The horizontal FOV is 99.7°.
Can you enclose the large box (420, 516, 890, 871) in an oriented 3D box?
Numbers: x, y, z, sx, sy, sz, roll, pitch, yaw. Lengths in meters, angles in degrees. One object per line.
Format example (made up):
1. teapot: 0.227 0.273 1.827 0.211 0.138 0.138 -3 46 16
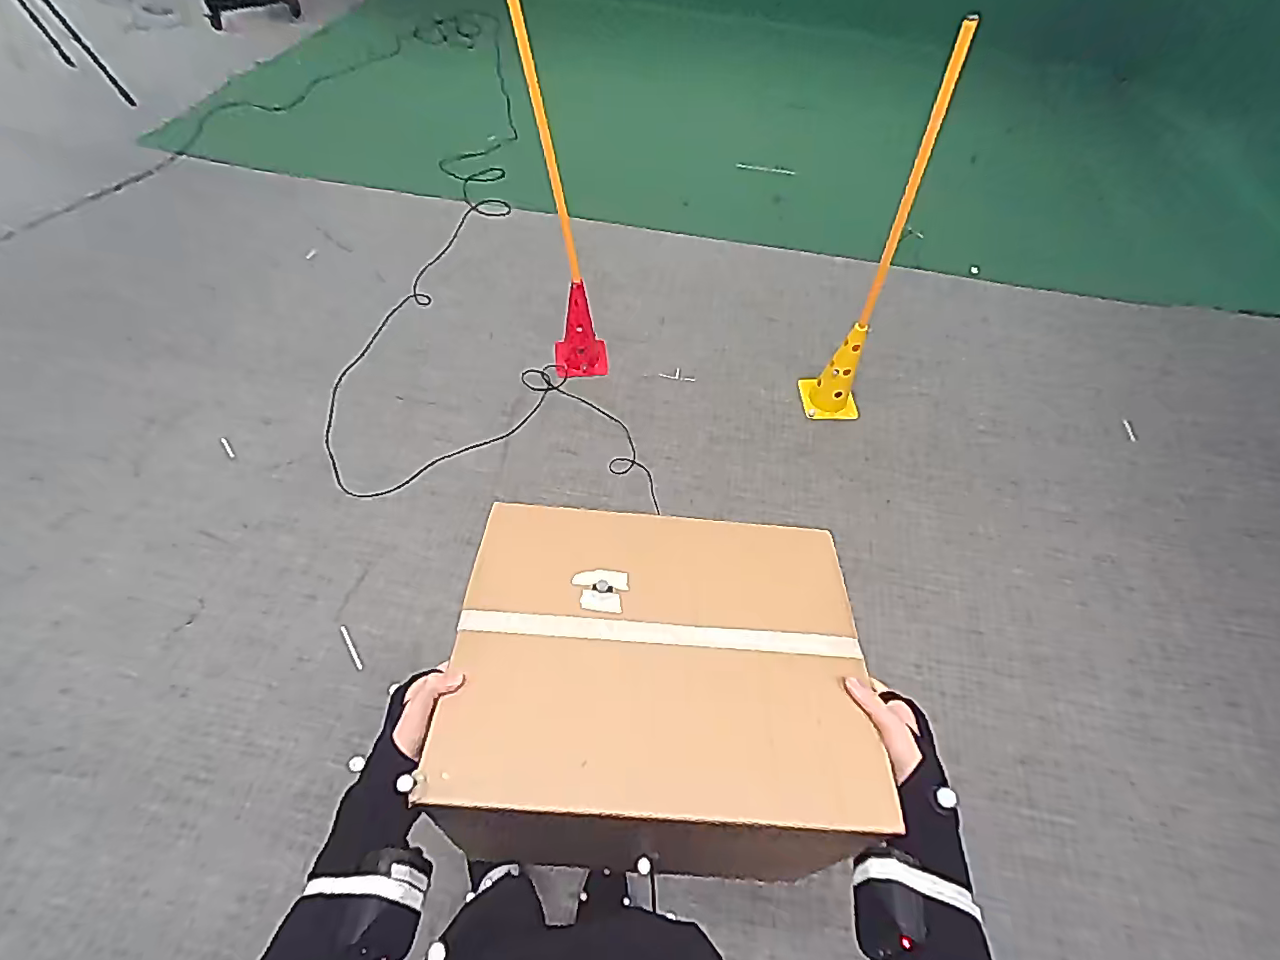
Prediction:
1. large box: 0.012 0.268 0.659 0.408 0.320 0.320 5 47 -1
